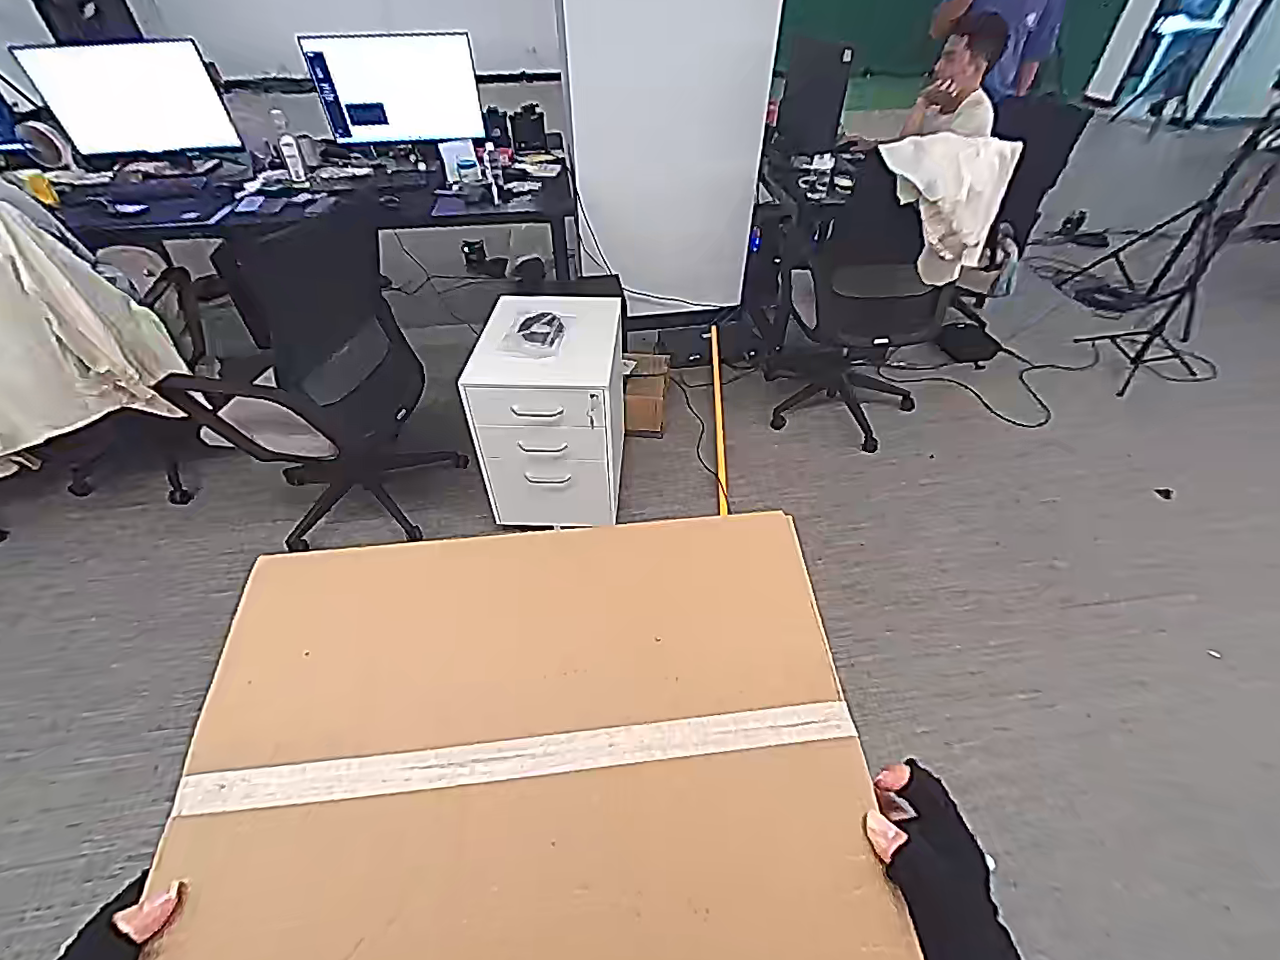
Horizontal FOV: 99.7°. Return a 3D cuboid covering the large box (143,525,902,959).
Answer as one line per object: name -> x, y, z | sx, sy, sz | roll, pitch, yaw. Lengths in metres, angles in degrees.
large box -> -0.069, 0.262, 0.458 | 0.408, 0.320, 0.320 | -5, 55, -3
